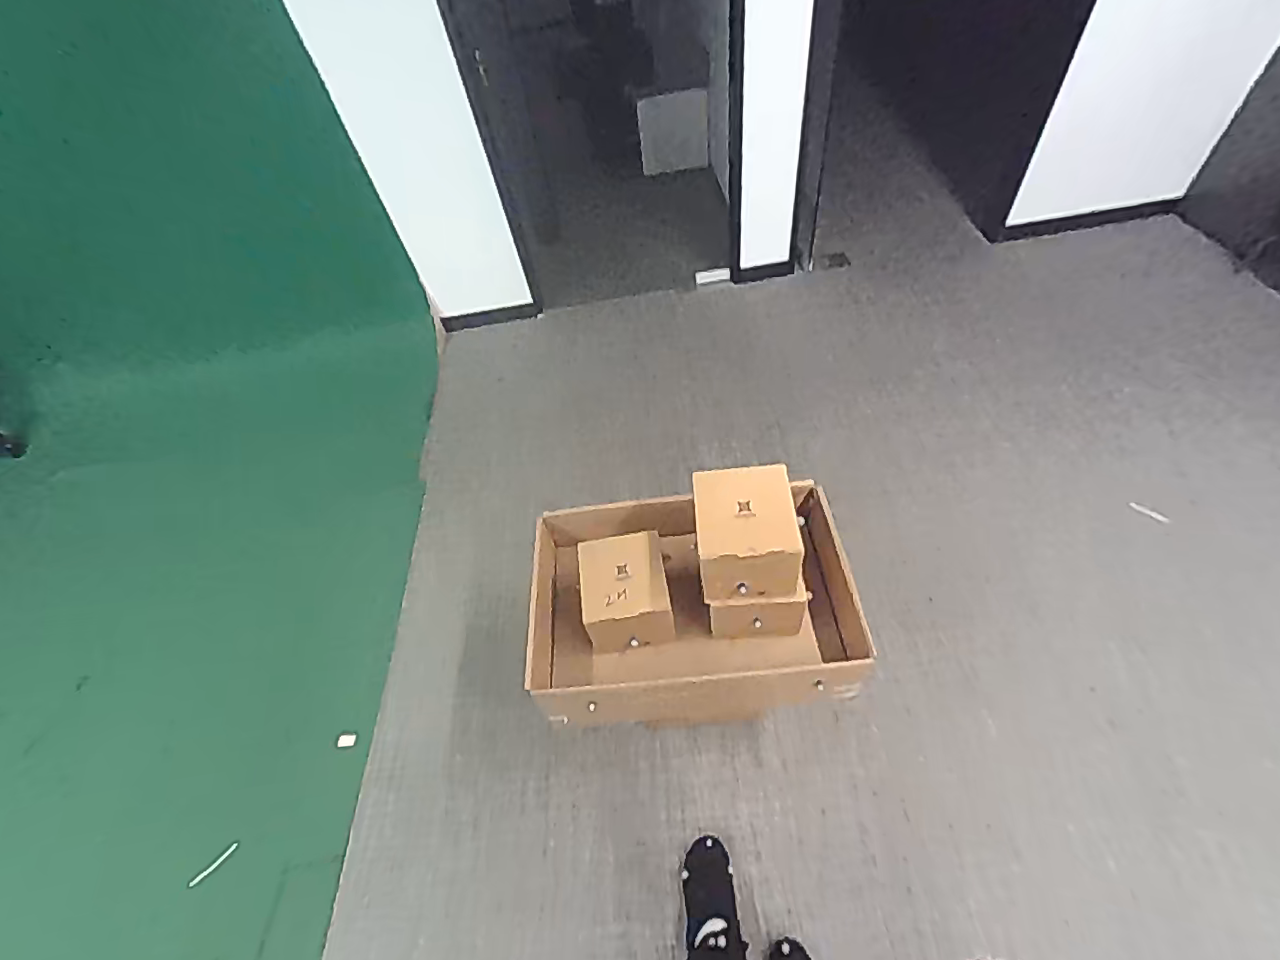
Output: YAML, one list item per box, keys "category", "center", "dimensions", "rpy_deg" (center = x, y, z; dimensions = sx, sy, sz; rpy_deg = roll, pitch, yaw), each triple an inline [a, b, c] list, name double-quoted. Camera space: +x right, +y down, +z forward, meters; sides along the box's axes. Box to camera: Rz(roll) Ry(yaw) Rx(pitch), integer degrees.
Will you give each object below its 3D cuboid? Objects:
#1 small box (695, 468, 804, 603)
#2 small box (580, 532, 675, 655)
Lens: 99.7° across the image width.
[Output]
- category: "small box"
  center: [0.185, 0.101, 0.963]
  dimensions: [0.168, 0.176, 0.179]
  rpy_deg: [-5, 51, 6]
- category: "small box"
  center: [-0.024, 0.232, 1.099]
  dimensions: [0.168, 0.176, 0.179]
  rpy_deg: [-9, 51, 1]
